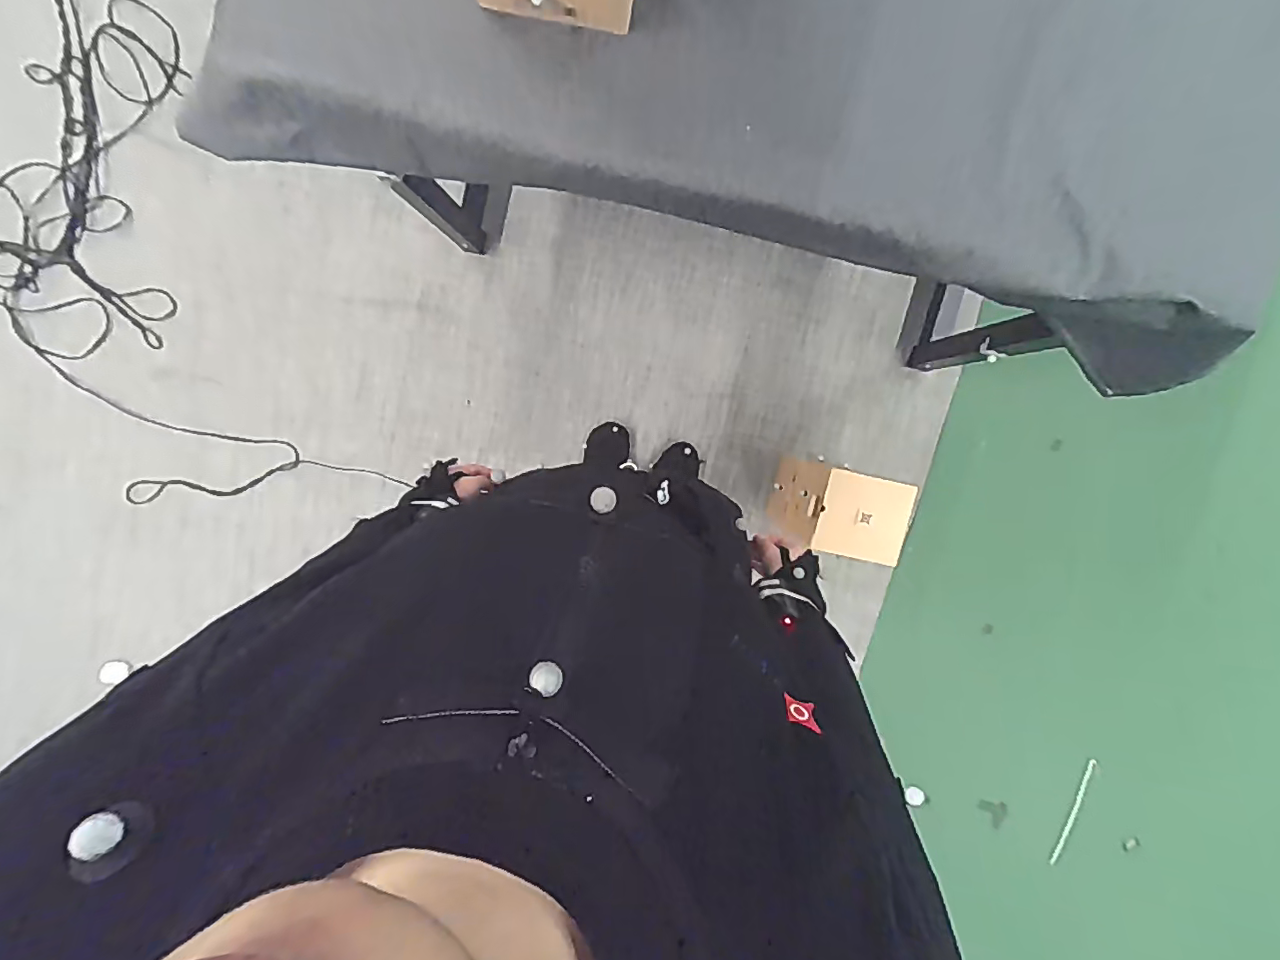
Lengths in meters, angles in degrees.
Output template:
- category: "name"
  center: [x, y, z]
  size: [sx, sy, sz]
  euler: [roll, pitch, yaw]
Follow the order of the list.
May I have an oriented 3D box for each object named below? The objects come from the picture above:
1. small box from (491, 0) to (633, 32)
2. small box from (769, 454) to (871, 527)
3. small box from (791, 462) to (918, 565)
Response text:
- category: "small box"
  center: [-0.077, -0.574, 0.495]
  size: [0.168, 0.176, 0.179]
  euler: [11, 97, 0]
- category: "small box"
  center: [0.420, 0.037, 1.285]
  size: [0.179, 0.176, 0.168]
  euler: [14, 96, 0]
- category: "small box"
  center: [0.434, 0.061, 1.121]
  size: [0.179, 0.176, 0.168]
  euler: [12, 97, 0]
